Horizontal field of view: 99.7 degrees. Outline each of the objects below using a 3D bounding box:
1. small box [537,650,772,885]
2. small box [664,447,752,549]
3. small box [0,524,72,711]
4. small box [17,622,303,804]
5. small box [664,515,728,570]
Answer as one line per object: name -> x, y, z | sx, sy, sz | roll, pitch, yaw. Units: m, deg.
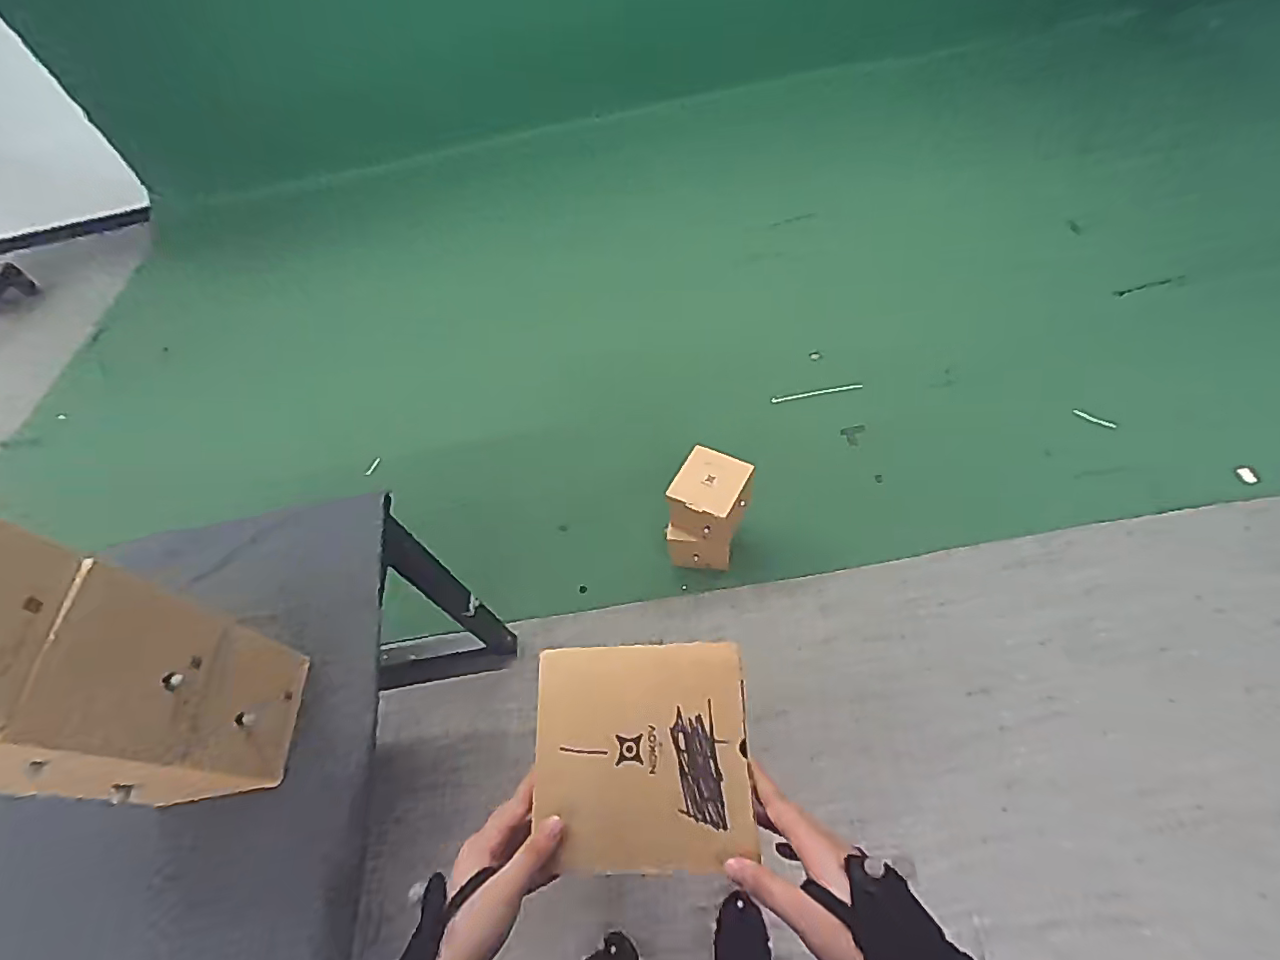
small box -> 0.017, 0.251, 0.499 | 0.179, 0.176, 0.168 | -3, 65, 6
small box -> 0.179, 0.051, 1.407 | 0.168, 0.176, 0.179 | 23, 62, 21
small box -> -0.609, 0.111, 0.398 | 0.179, 0.176, 0.168 | -14, 55, 2
small box -> -0.561, 0.292, 0.667 | 0.179, 0.176, 0.168 | -11, 55, 3
small box -> 0.169, 0.143, 1.545 | 0.168, 0.176, 0.179 | 4, 56, 11
